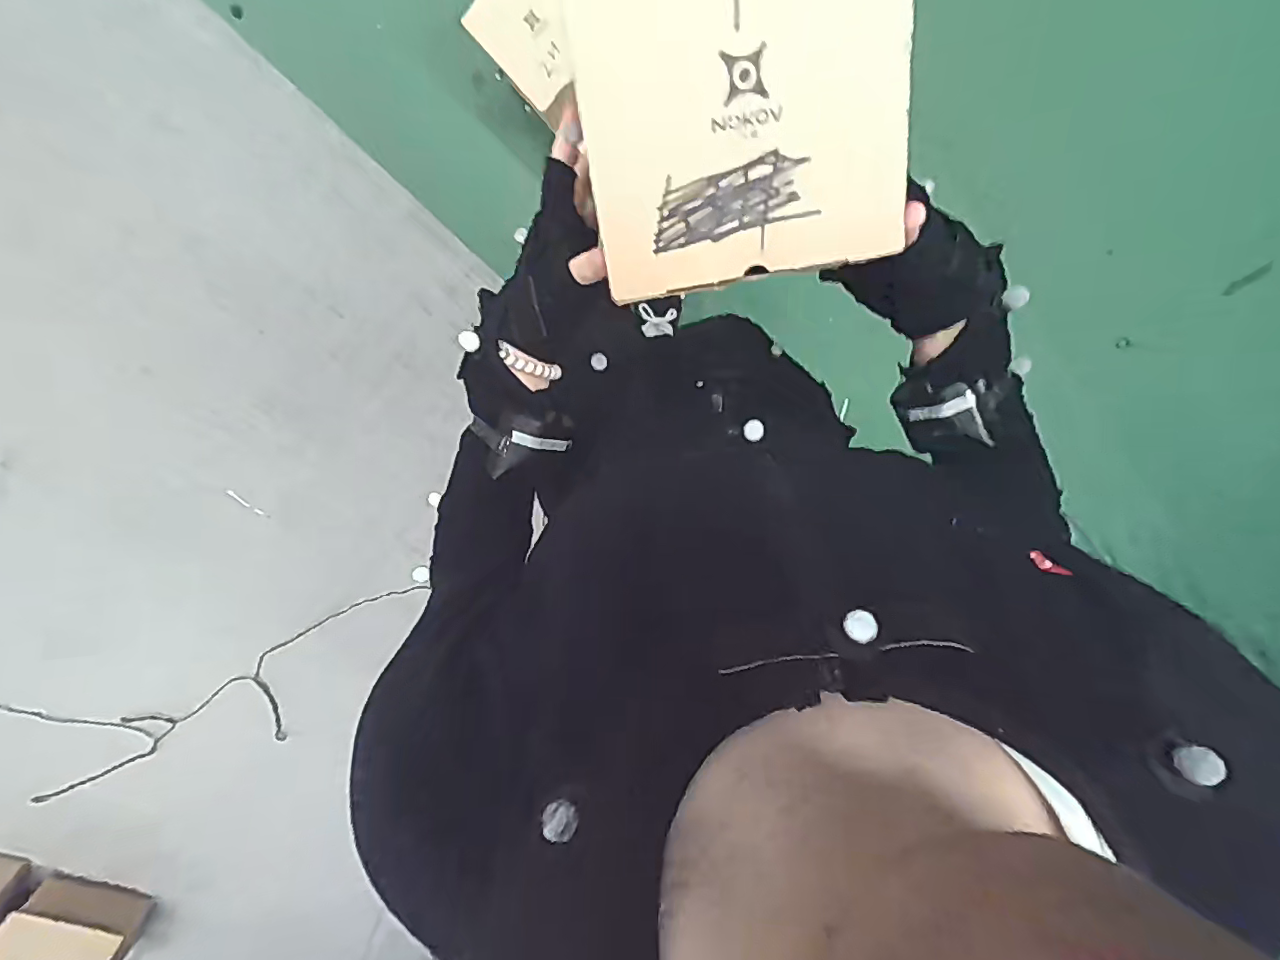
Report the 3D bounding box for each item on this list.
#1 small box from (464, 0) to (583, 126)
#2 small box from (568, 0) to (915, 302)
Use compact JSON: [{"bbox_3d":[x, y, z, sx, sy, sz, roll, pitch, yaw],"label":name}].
[{"bbox_3d":[-0.166,-0.756,0.934,0.168,0.176,0.179,-42,109,16],"label":"small box"},{"bbox_3d":[0.053,-0.226,0.347,0.168,0.176,0.179,-9,115,2],"label":"small box"}]
